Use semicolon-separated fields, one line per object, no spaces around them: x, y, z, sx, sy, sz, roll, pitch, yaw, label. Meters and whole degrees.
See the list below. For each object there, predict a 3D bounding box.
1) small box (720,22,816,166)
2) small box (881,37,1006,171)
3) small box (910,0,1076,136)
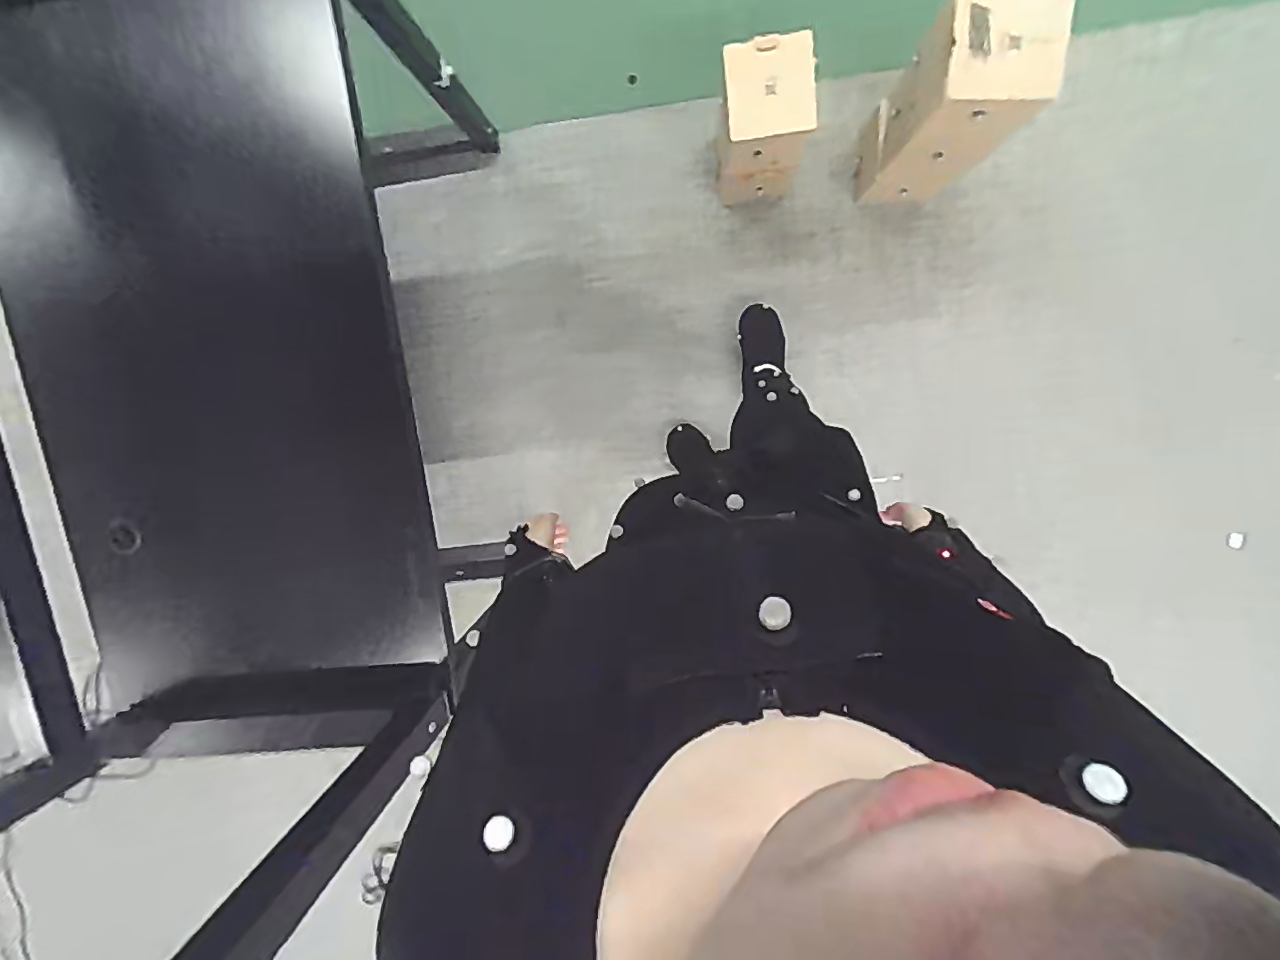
0.252;-0.762;1.093;0.168;0.176;0.179;-6;98;7;small box
0.597;-0.728;1.063;0.179;0.176;0.168;6;101;4;small box
0.576;-0.699;0.903;0.179;0.176;0.168;3;100;5;small box
